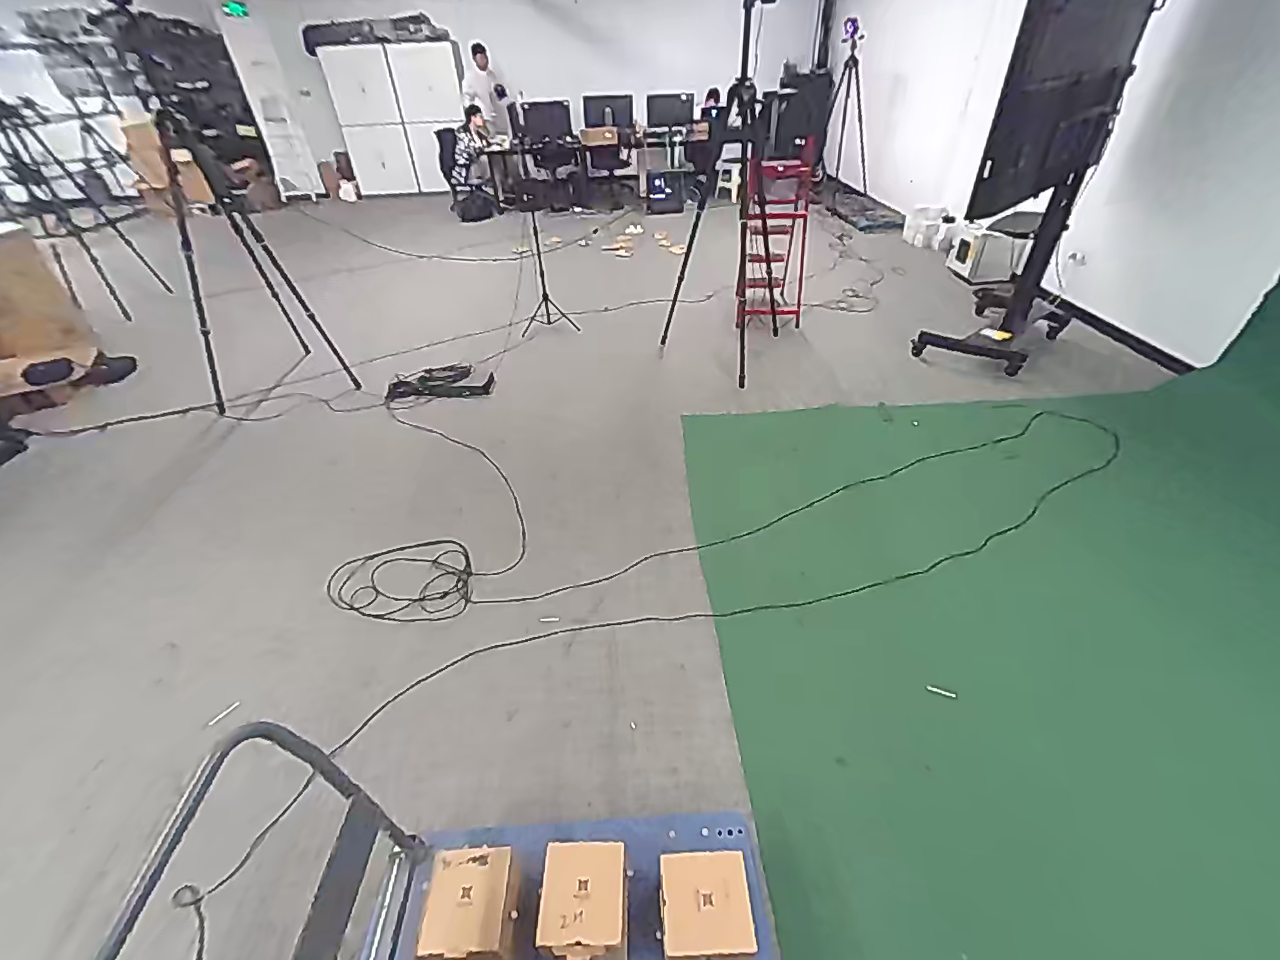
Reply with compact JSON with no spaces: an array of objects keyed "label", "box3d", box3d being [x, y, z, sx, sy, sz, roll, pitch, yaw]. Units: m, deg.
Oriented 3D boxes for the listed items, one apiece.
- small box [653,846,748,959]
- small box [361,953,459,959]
[{"label":"small box","box3d":[0.120,0.883,1.119,0.179,0.176,0.168,-2,39,1]},{"label":"small box","box3d":[-0.370,0.894,0.867,0.168,0.176,0.179,-2,38,-1]}]
